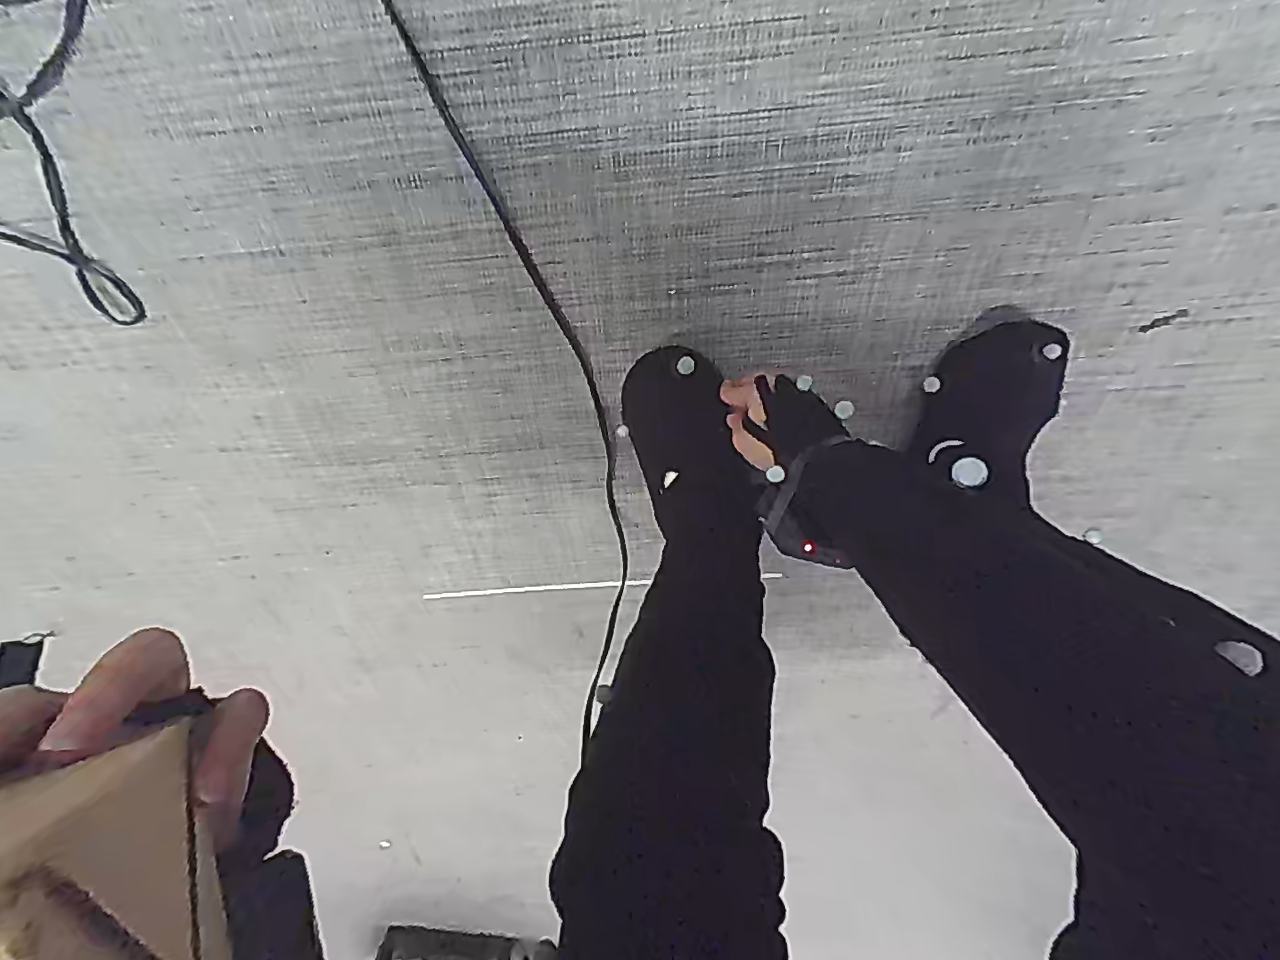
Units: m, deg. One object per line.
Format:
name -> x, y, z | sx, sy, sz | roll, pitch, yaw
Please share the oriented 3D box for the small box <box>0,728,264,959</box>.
small box -> -0.146, 0.151, 0.070 | 0.176, 0.168, 0.179 | -11, 171, -37
